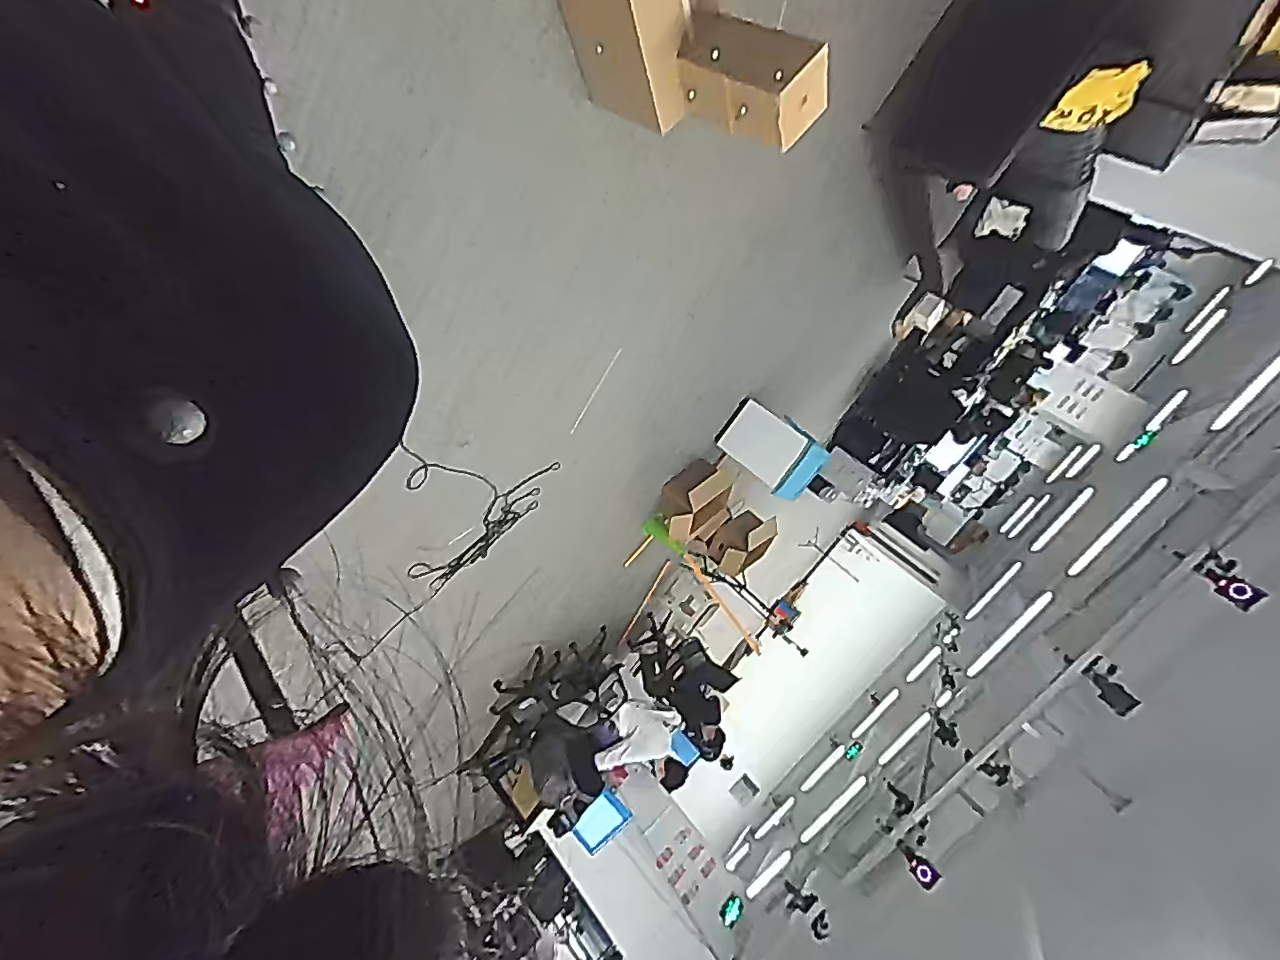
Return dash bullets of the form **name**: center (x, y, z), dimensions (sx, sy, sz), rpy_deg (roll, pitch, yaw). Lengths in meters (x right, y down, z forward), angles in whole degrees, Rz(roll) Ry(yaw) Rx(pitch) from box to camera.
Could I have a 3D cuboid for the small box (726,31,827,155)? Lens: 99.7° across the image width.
- **small box**: center (0.342, -0.973, 1.355), dimensions (0.179, 0.176, 0.168), rpy_deg (-47, 155, -2)
